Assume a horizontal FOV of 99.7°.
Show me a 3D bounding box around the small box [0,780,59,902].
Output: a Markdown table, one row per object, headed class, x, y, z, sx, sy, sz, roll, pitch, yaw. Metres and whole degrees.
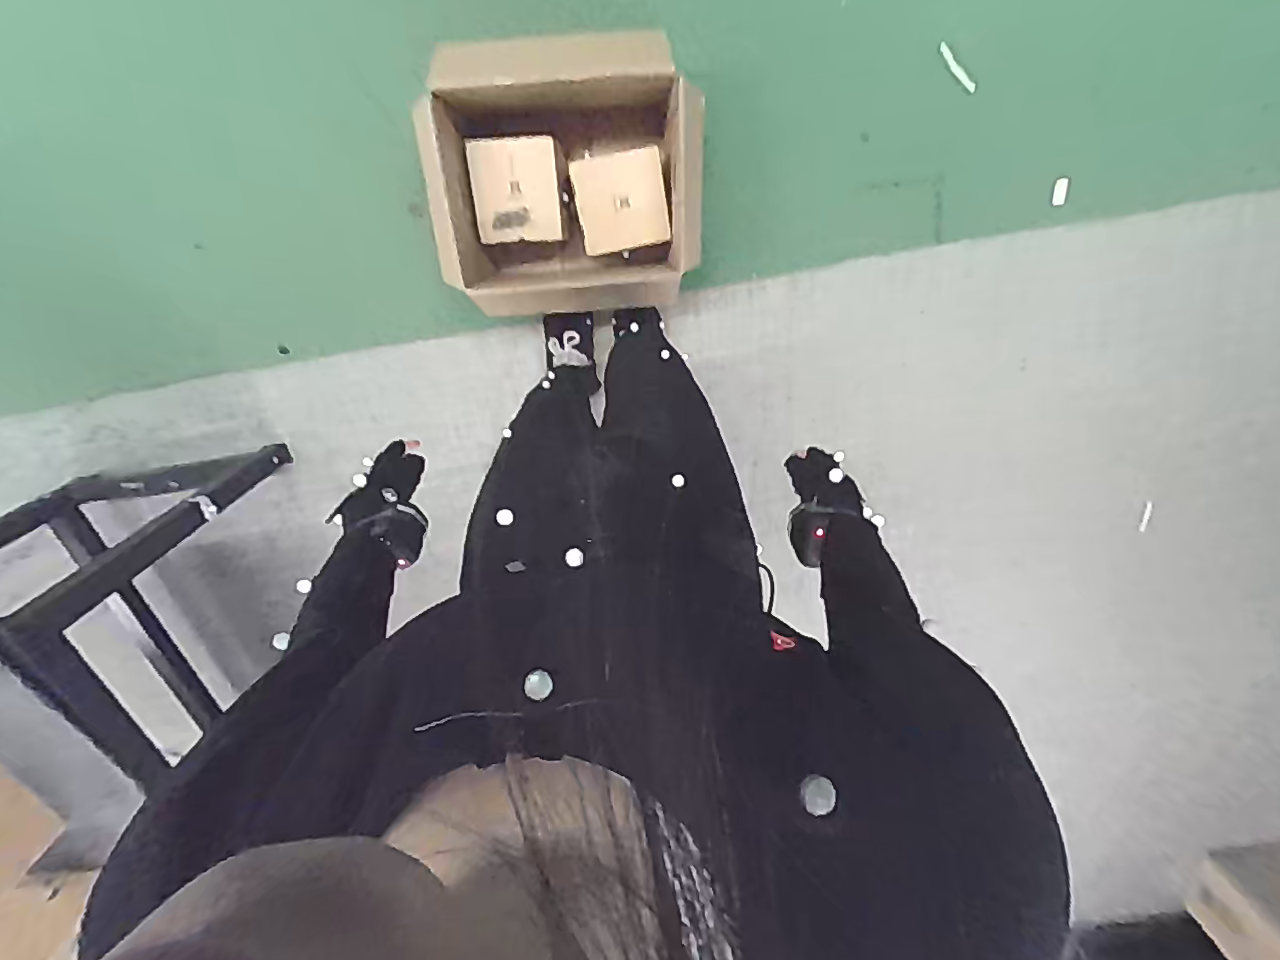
| class | x | y | z | sx | sy | sz | roll | pitch | yaw |
| --- | --- | --- | --- | --- | --- | --- | --- | --- | --- |
| small box | -1.094 | 0.587 | 0.834 | 0.168 | 0.176 | 0.179 | -11 | 115 | 3 |
